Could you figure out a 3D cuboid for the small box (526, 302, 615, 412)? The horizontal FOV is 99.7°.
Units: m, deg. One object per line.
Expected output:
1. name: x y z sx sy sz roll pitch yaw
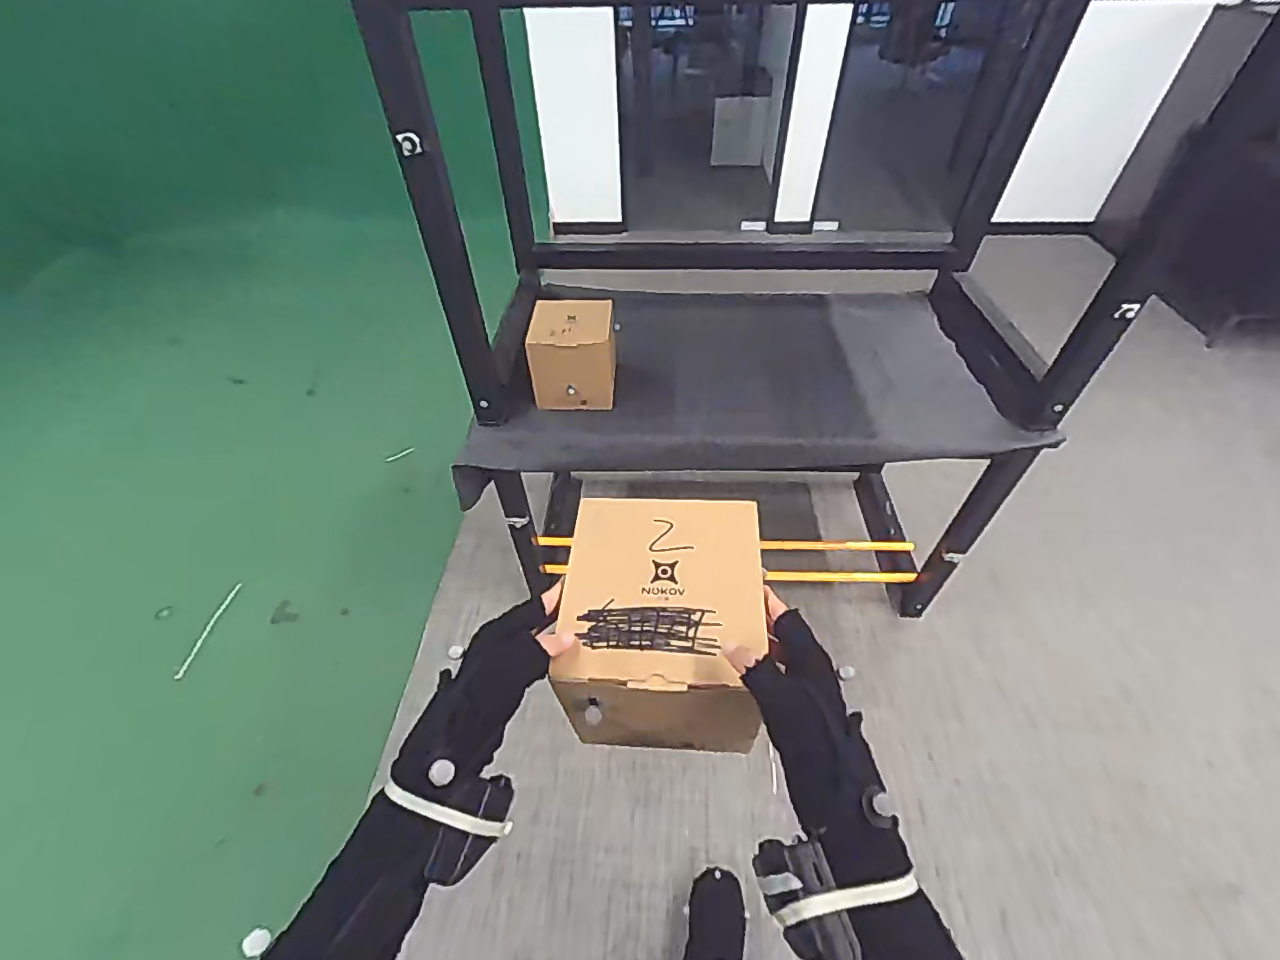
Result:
1. small box: -0.143 -0.268 1.174 0.168 0.176 0.179 0 46 1
